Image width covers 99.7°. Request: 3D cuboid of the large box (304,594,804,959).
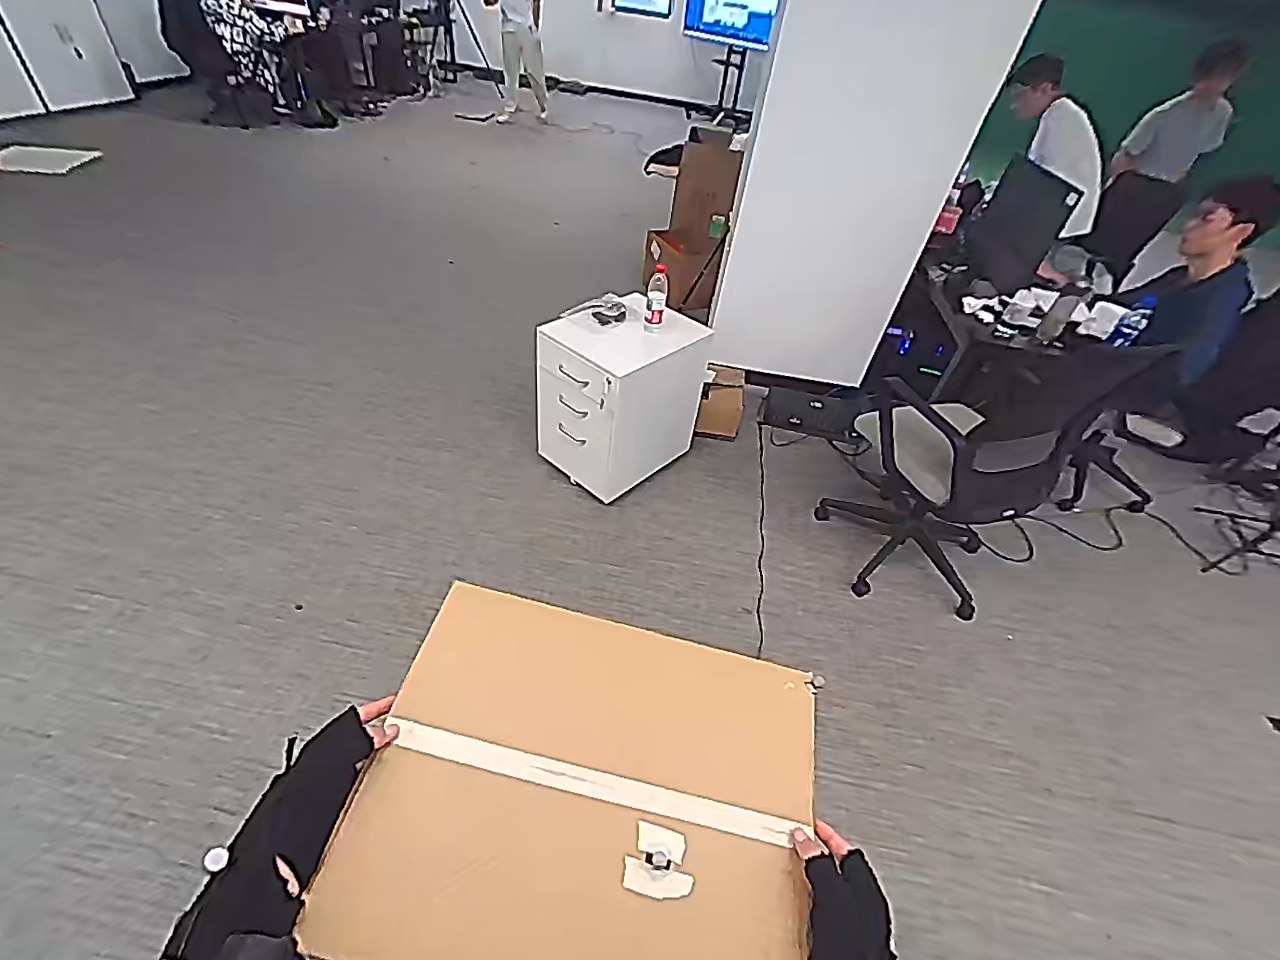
[{"bbox_3d":[-0.063,0.377,0.622,0.408,0.320,0.320,15,52,1],"label":"large box"}]
